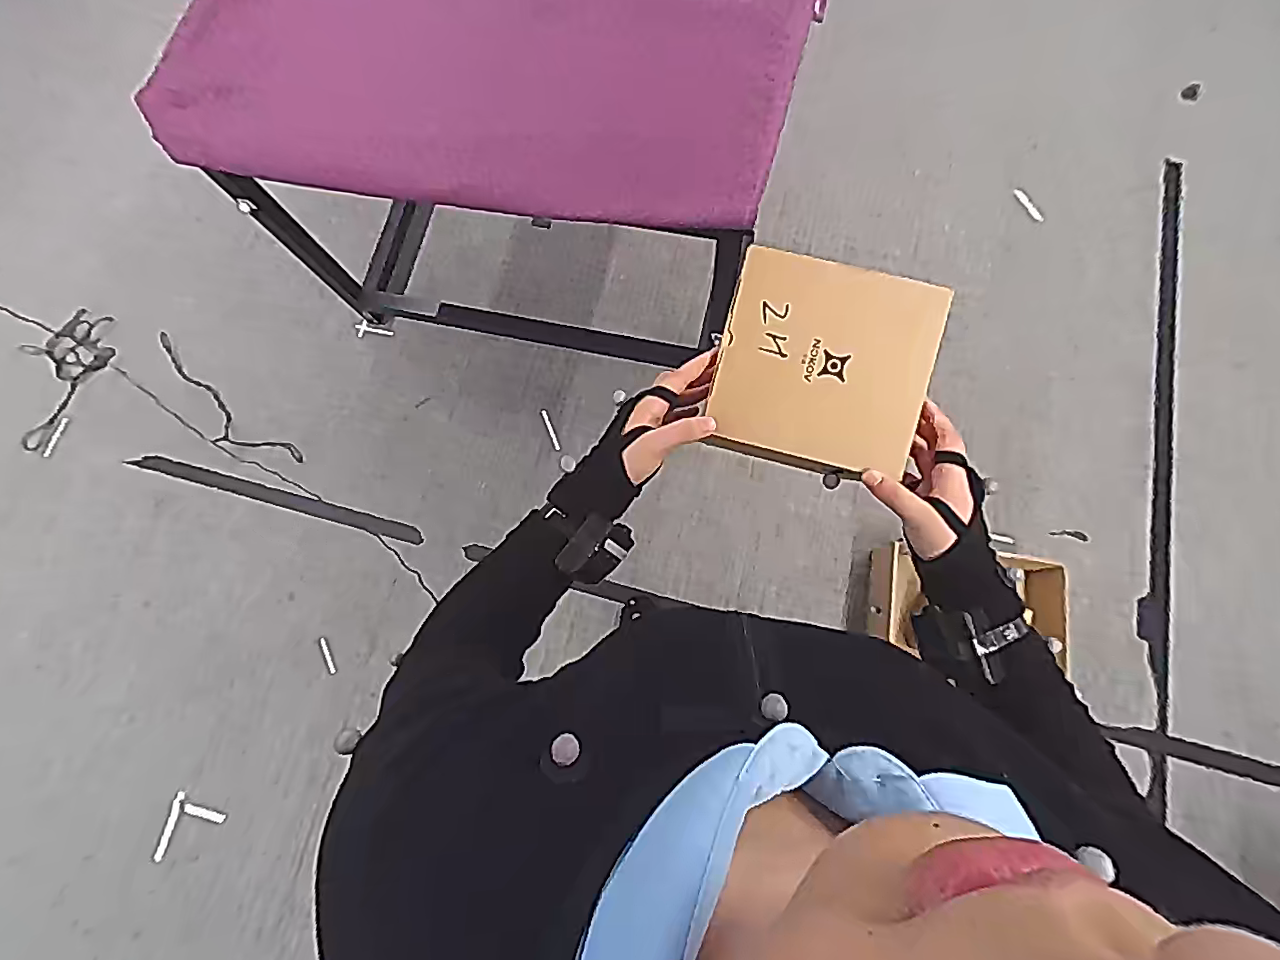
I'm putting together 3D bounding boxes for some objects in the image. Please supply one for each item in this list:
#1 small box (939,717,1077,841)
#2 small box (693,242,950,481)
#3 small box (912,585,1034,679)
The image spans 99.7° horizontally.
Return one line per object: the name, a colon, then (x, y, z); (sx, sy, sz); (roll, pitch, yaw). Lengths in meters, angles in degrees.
small box: (0.731, 0.589, 1.090); (0.179, 0.176, 0.168); (9, 77, 5)
small box: (0.157, -0.102, 0.530); (0.179, 0.176, 0.168); (15, 92, 5)
small box: (0.799, 0.360, 1.311); (0.179, 0.176, 0.168); (19, 80, 8)
